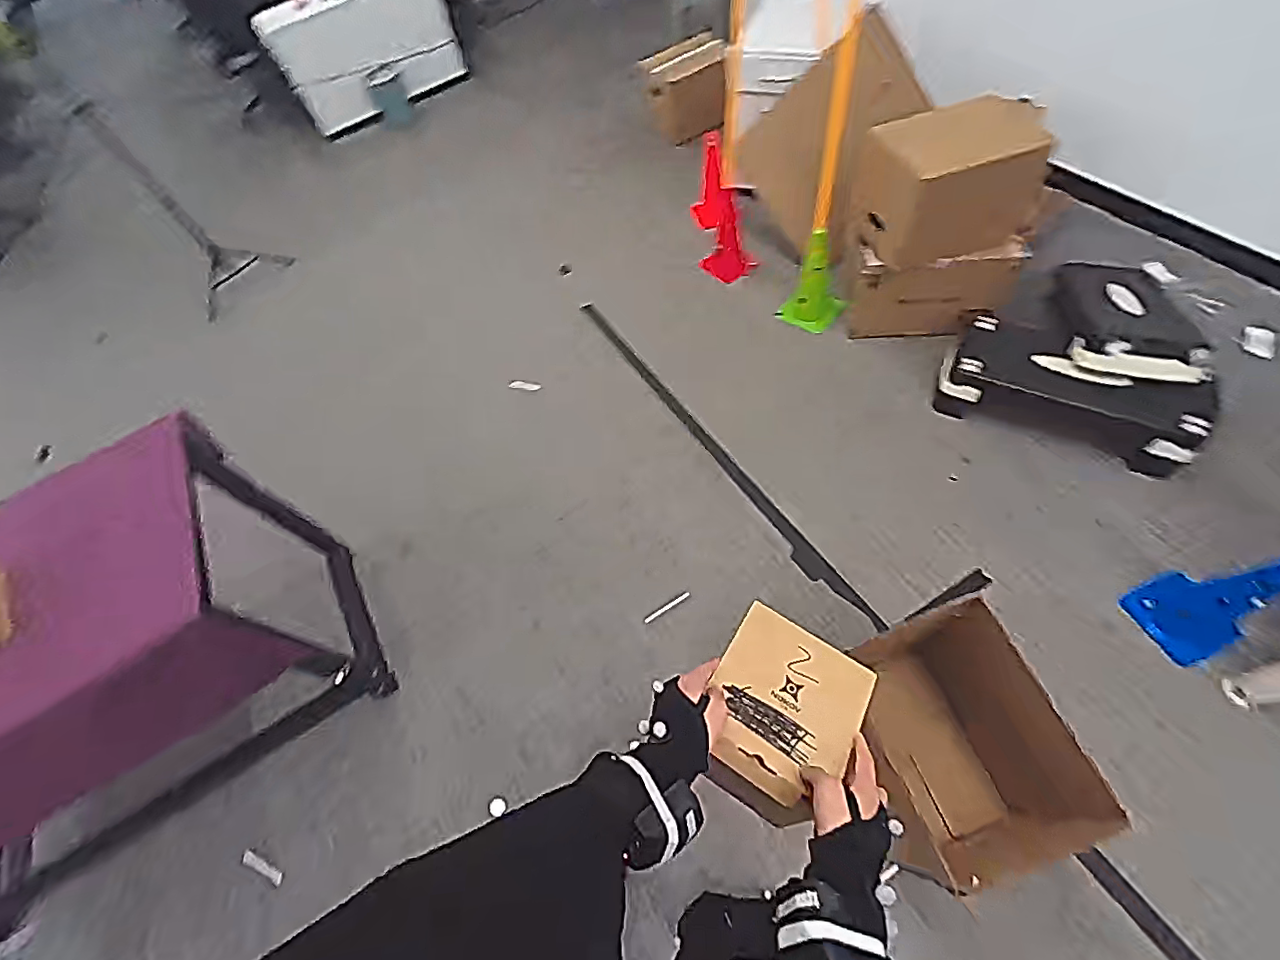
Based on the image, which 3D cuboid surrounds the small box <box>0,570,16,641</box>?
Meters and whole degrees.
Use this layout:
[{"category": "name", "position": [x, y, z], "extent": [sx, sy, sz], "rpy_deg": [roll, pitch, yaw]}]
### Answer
[{"category": "small box", "position": [-1.320, 0.244, 0.994], "extent": [0.168, 0.176, 0.179], "rpy_deg": [-38, 59, -13]}]
